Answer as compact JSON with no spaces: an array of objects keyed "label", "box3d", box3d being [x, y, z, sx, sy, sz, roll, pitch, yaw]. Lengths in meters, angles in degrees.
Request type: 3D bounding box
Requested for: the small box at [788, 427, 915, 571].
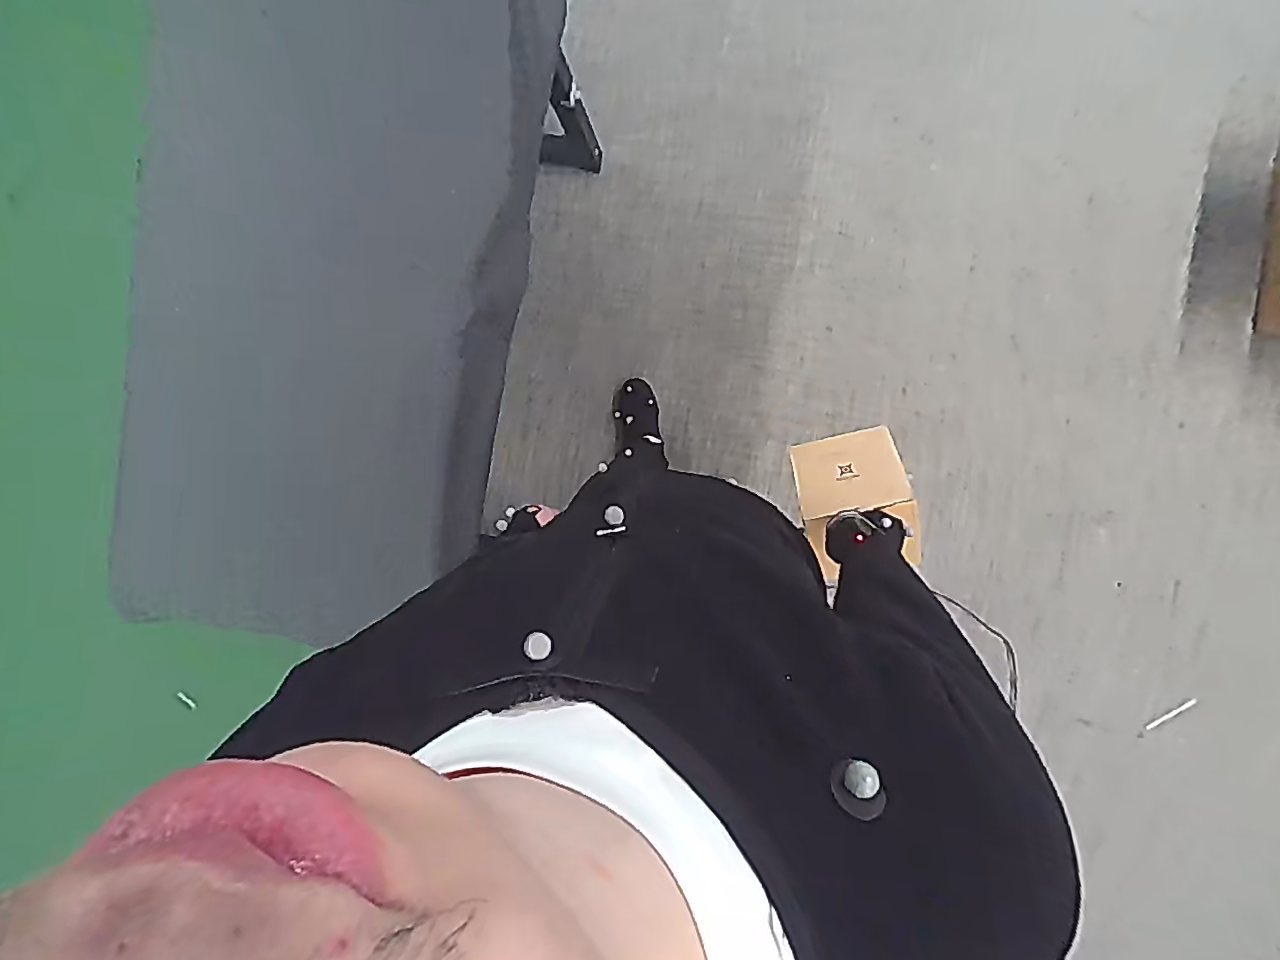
[{"label":"small box","box3d":[0.361,0.041,0.928,0.168,0.179,0.176,-12,131,15]}]
